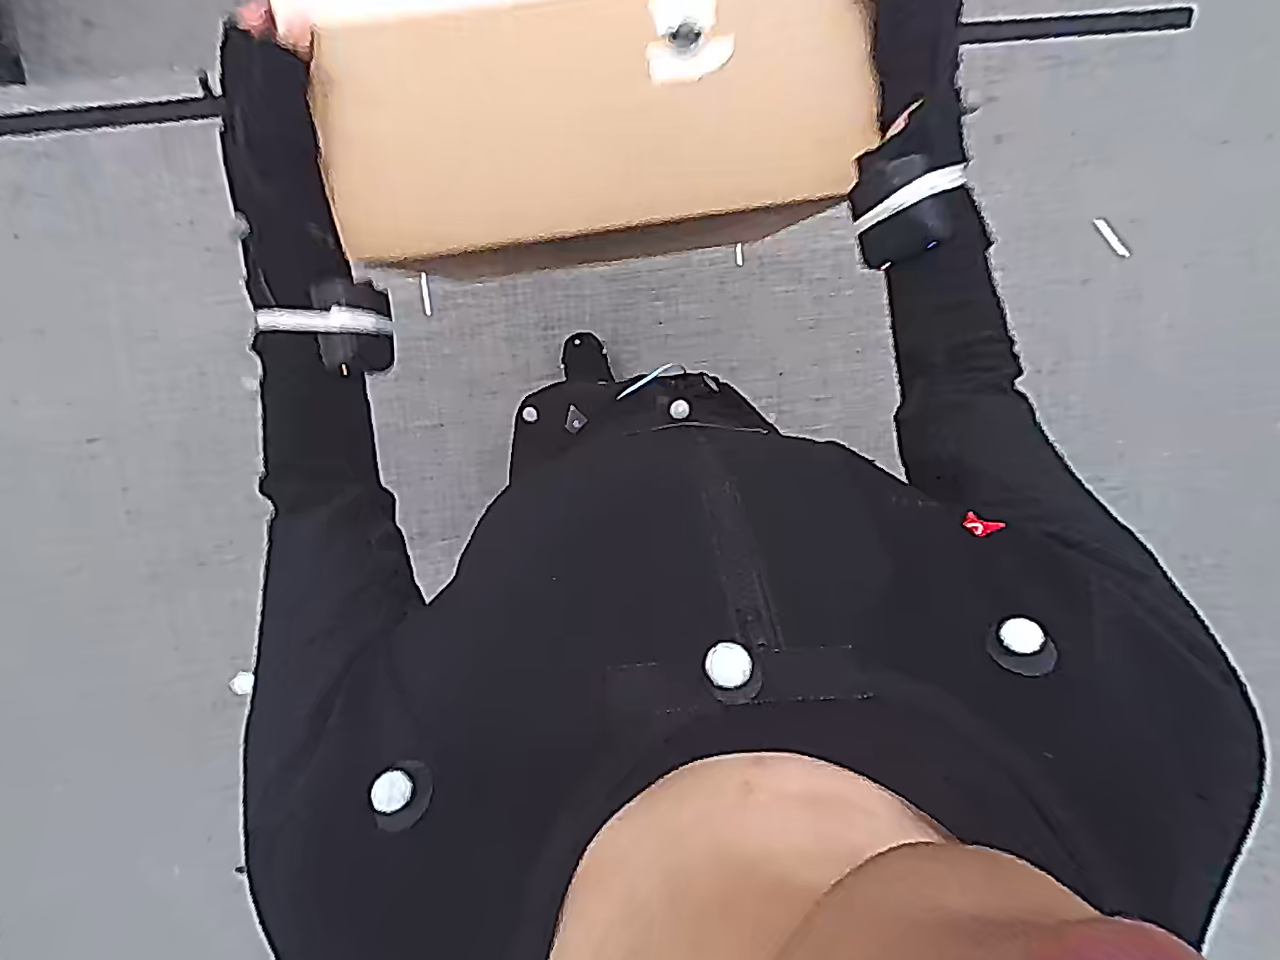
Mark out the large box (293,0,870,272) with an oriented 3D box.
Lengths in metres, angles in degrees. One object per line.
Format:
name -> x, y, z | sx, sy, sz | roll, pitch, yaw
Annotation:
large box -> -0.052, -0.393, 0.508 | 0.408, 0.320, 0.320 | -9, 109, -3
